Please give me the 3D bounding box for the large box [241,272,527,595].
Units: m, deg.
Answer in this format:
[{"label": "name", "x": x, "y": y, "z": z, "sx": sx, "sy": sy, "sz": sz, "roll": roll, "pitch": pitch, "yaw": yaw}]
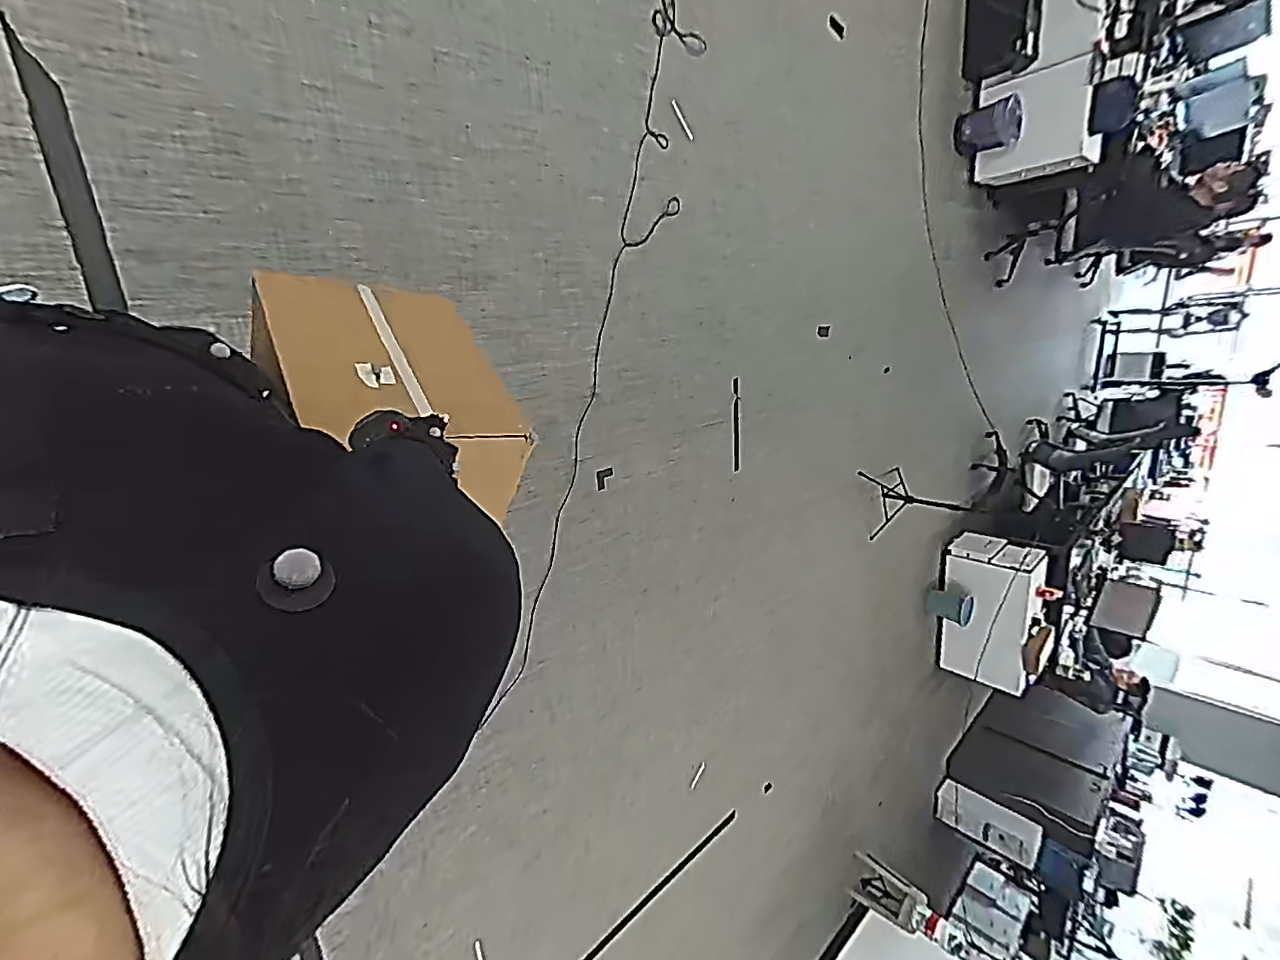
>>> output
[{"label": "large box", "x": -0.451, "y": -0.082, "z": 0.908, "sx": 0.320, "sy": 0.408, "sz": 0.320, "roll": -6, "pitch": 140, "yaw": -40}]
